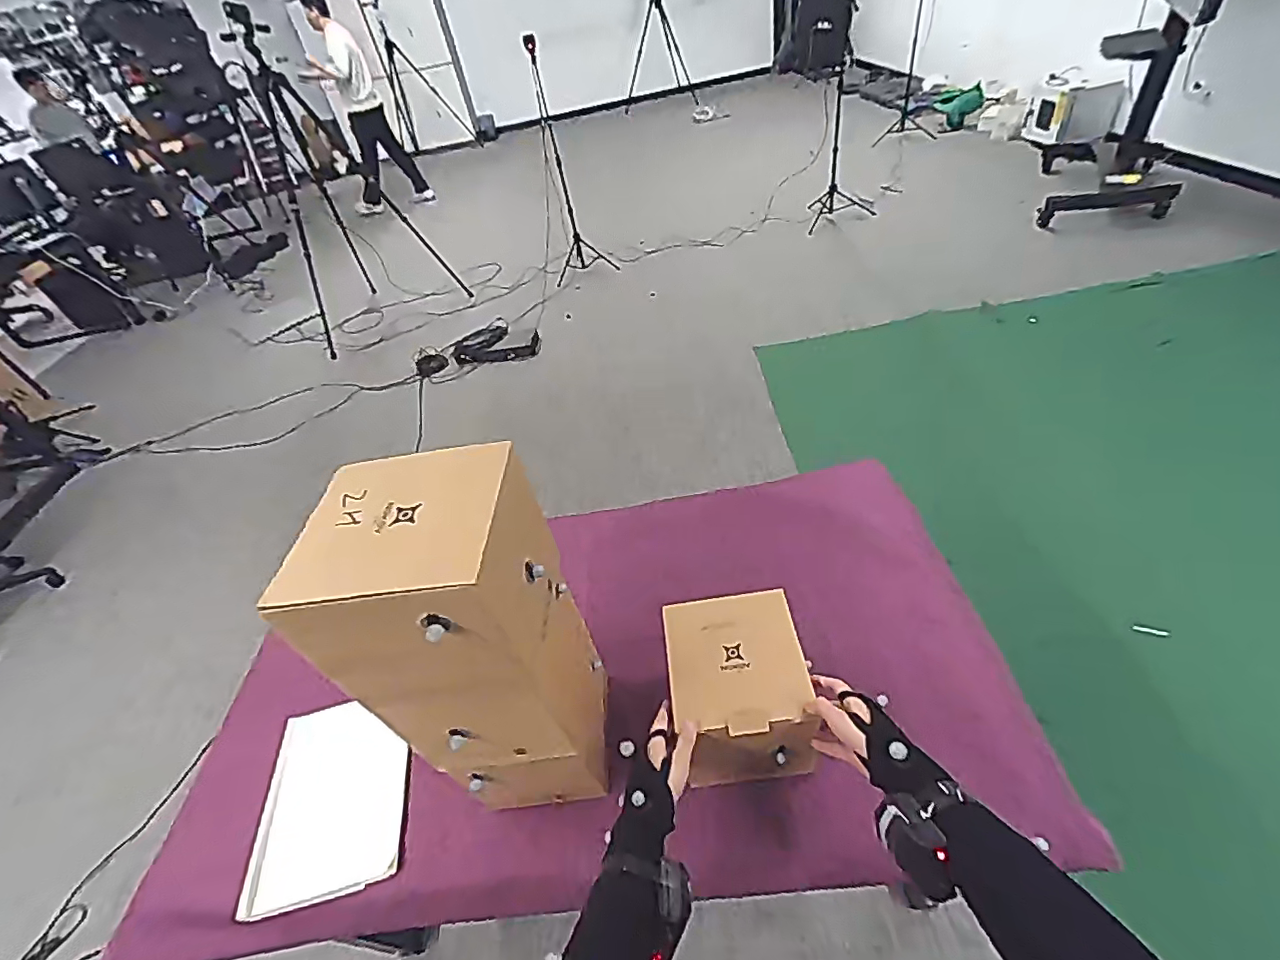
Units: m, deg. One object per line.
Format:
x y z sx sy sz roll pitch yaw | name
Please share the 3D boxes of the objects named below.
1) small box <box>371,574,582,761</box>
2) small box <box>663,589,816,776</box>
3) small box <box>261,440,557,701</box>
-0.167 0.203 0.621 0.168 0.176 0.179 -9 42 5 | small box
0.127 0.273 0.718 0.168 0.176 0.179 -8 42 4 | small box
-0.186 0.087 0.506 0.179 0.176 0.168 -8 41 6 | small box
